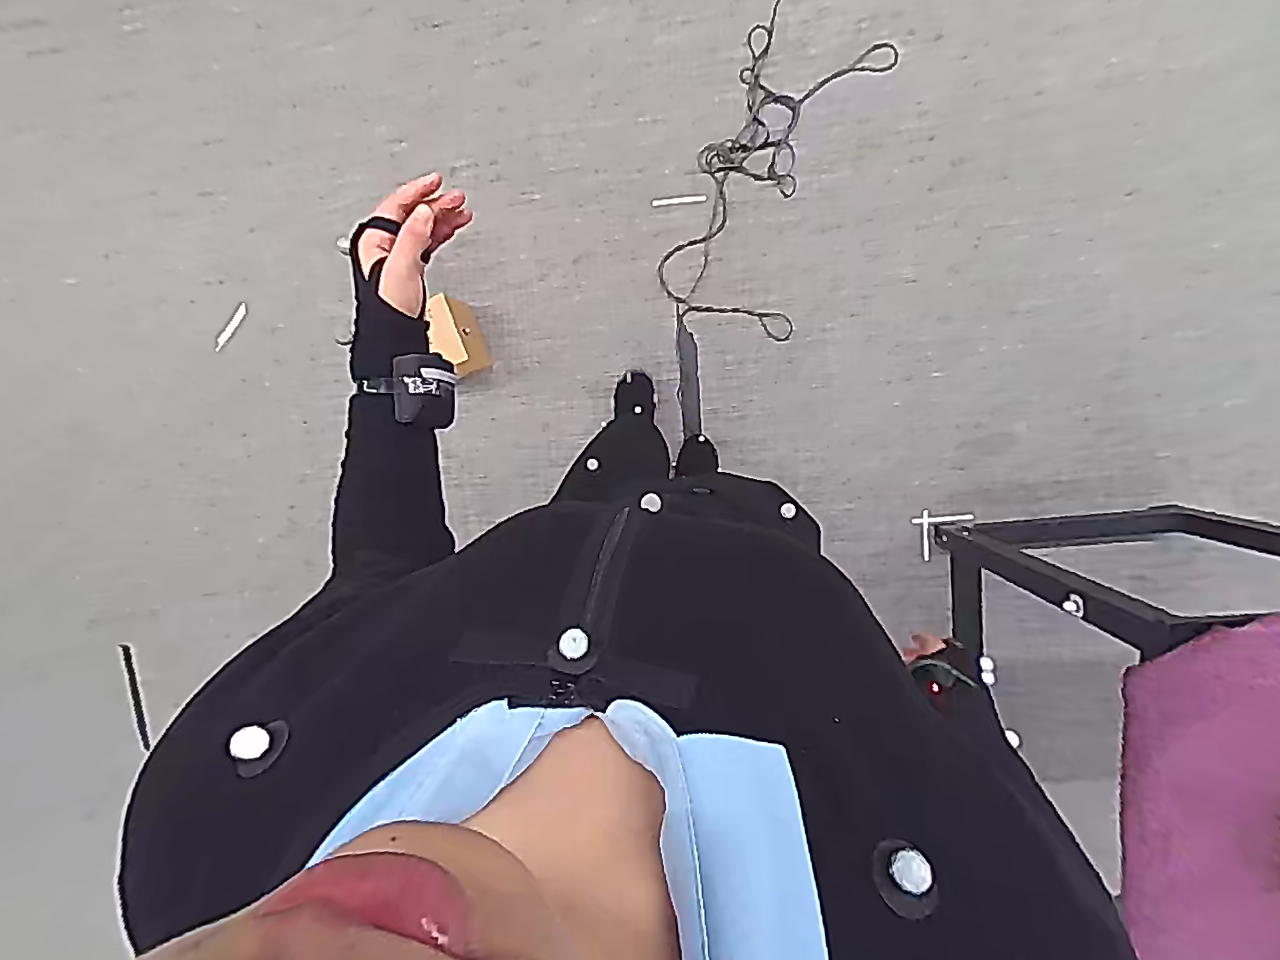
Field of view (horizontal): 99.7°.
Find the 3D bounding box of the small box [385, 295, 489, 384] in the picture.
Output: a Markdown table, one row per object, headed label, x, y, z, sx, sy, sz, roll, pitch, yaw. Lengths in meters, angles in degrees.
| label | x | y | z | sx | sy | sz | roll | pitch | yaw |
| --- | --- | --- | --- | --- | --- | --- | --- | --- | --- |
| small box | -0.522 | -0.358 | 1.415 | 0.168 | 0.176 | 0.179 | -20 | 94 | 8 |
